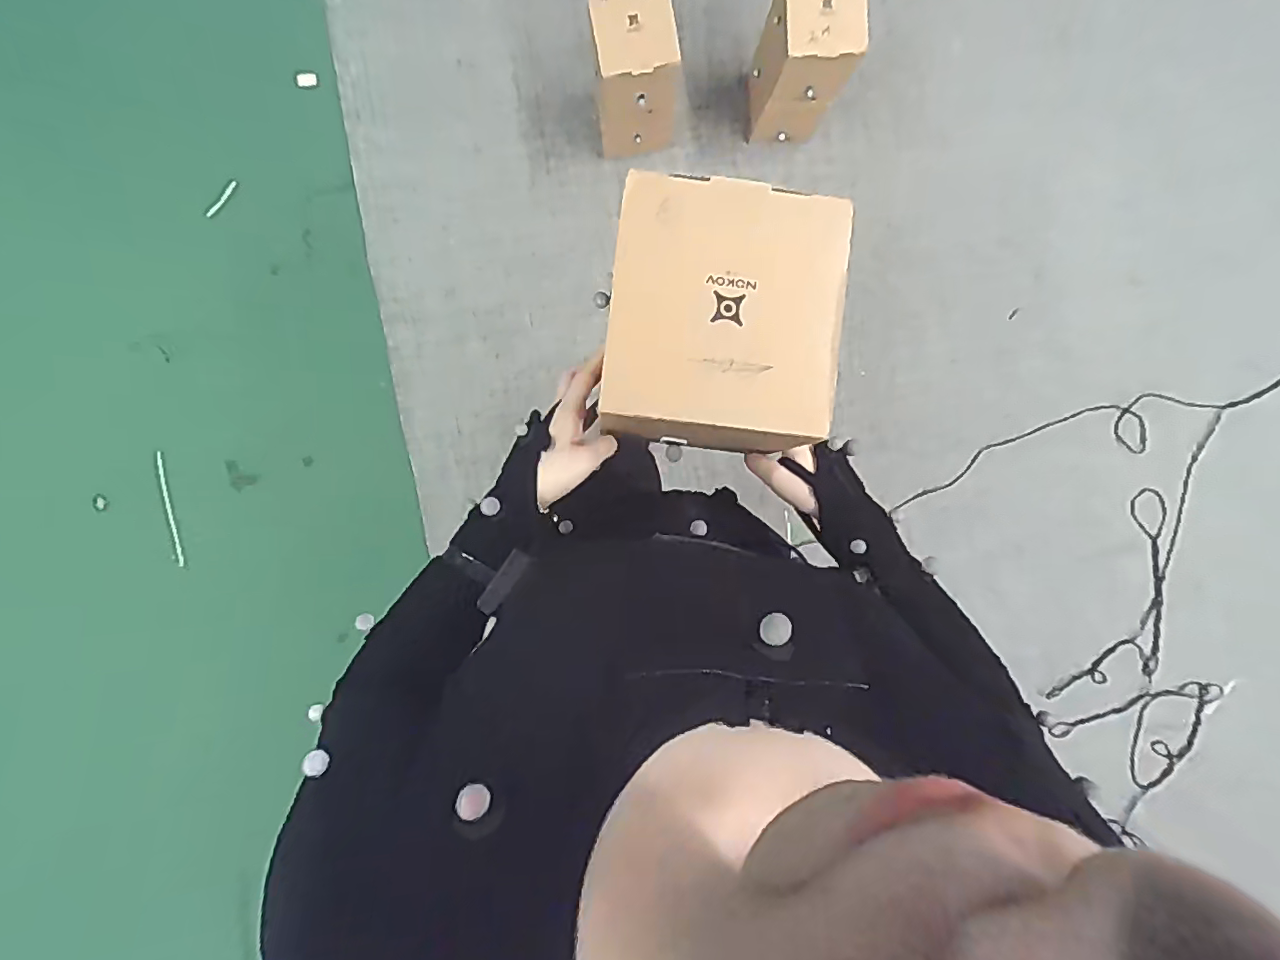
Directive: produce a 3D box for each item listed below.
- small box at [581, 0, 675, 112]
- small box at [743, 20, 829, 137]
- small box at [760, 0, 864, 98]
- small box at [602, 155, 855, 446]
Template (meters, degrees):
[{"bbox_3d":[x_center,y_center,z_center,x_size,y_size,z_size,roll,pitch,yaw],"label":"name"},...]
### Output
[{"bbox_3d":[-0.025,-0.915,1.143,0.168,0.176,0.179,-11,96,-1],"label":"small box"},{"bbox_3d":[0.350,-0.973,1.317,0.168,0.176,0.179,-3,97,-2],"label":"small box"},{"bbox_3d":[0.359,-0.960,1.153,0.168,0.176,0.179,-4,96,-1],"label":"small box"},{"bbox_3d":[0.058,-0.129,0.458,0.168,0.176,0.179,7,89,-4],"label":"small box"}]
